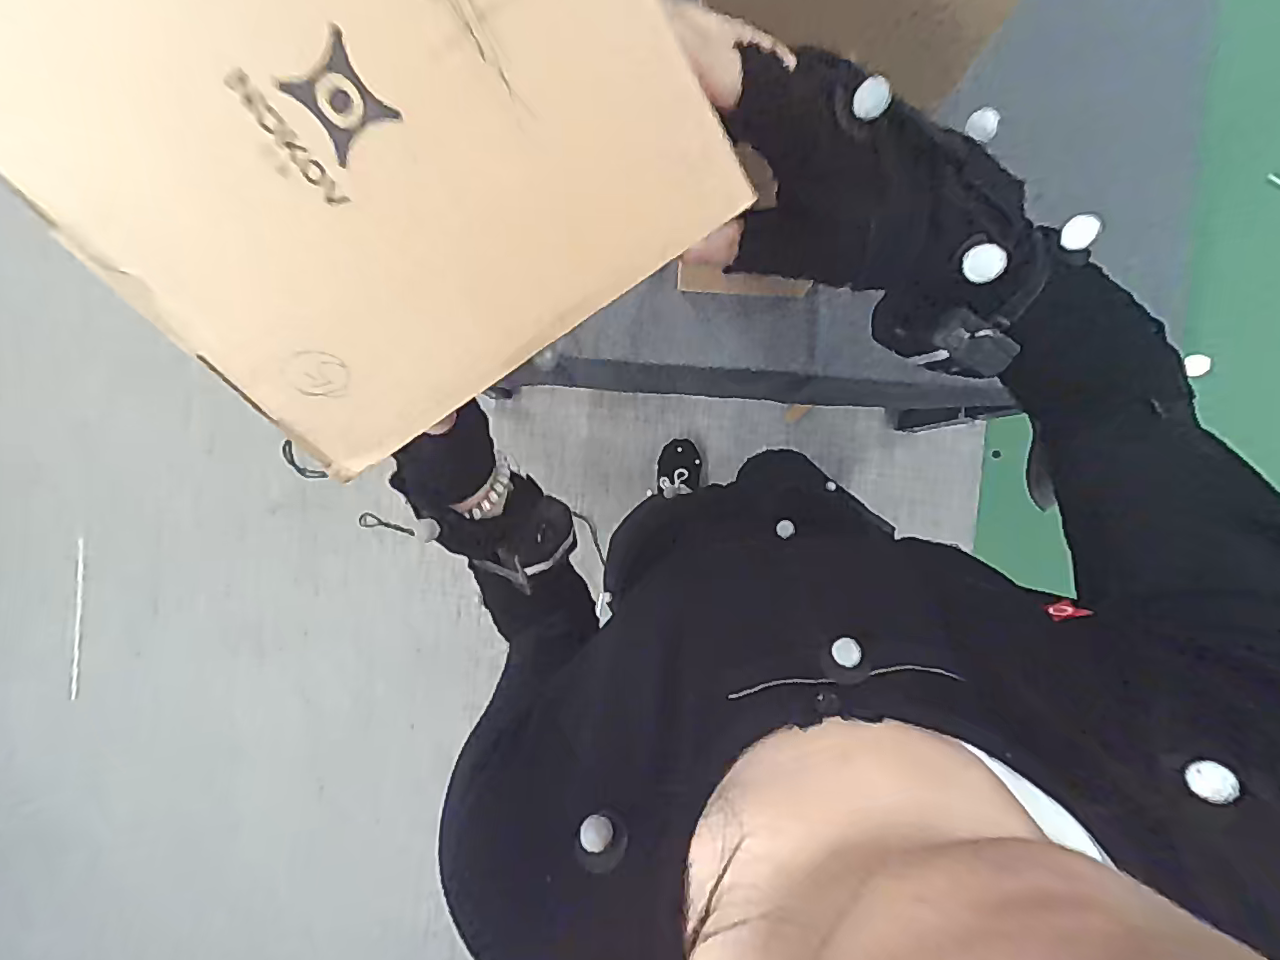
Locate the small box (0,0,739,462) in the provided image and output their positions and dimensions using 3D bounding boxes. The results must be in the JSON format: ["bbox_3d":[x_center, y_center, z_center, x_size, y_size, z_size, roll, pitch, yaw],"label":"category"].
[{"bbox_3d":[-0.087,-0.143,0.213,0.179,0.176,0.168,-30,118,13],"label":"small box"}]

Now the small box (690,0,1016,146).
[{"bbox_3d":[0.129,-0.349,0.349,0.179,0.176,0.168,6,89,2],"label":"small box"}]
